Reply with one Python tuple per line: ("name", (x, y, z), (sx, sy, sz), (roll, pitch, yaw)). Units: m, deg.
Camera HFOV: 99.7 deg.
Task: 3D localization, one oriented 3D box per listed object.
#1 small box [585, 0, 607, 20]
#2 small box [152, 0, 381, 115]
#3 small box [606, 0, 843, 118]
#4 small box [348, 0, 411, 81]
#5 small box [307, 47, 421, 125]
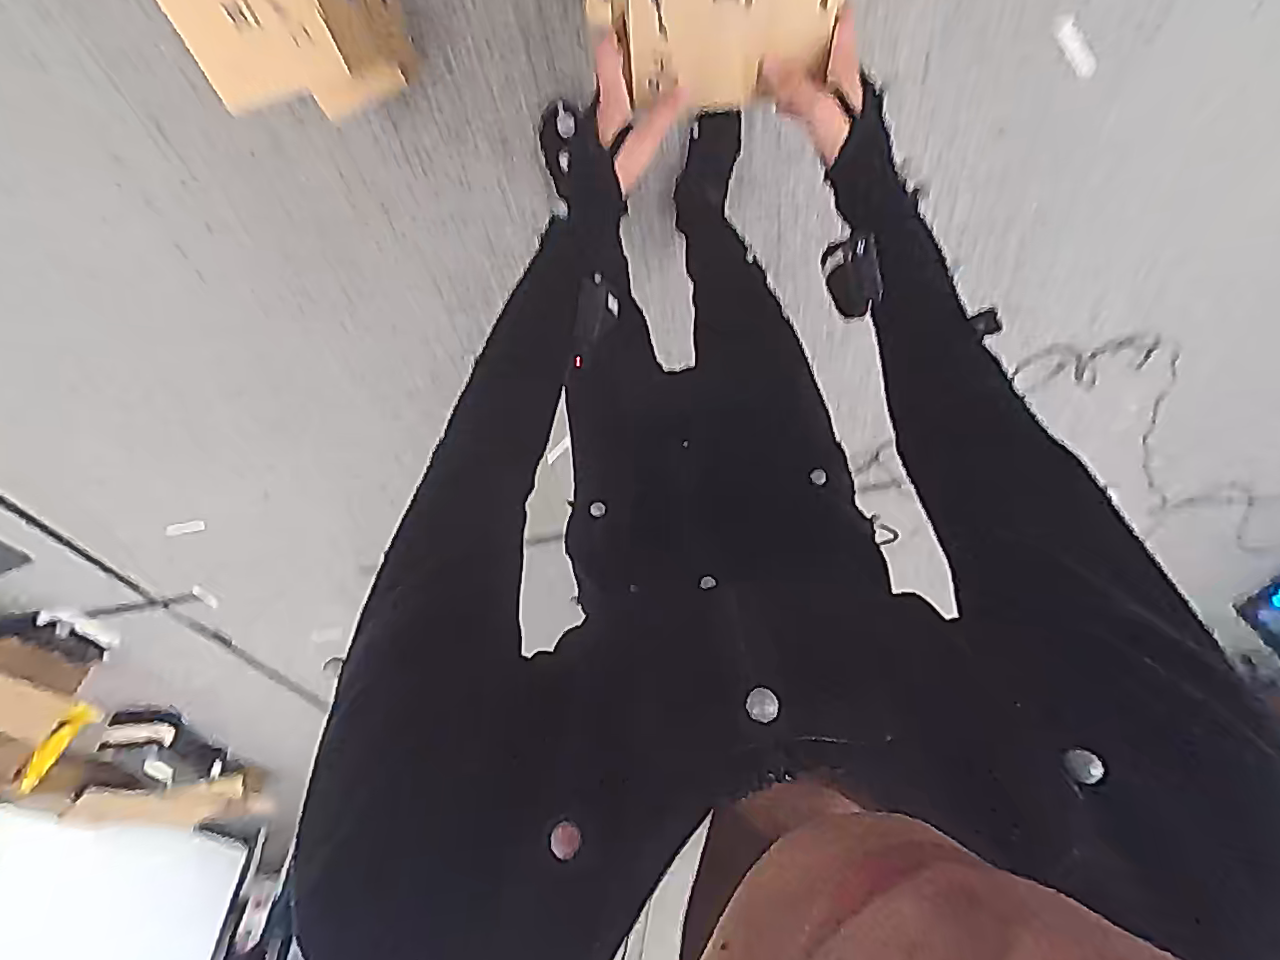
("small box", (-0.017, -0.894, 0.904), (0.179, 0.176, 0.168), (-10, 135, 2))
("small box", (-0.466, -0.592, 0.684), (0.179, 0.176, 0.168), (-12, 134, 6))
("small box", (0.064, -0.434, 0.466), (0.179, 0.176, 0.168), (-7, 136, -4))
("small box", (-0.464, -0.709, 0.800), (0.168, 0.176, 0.179), (-6, 135, 1))
("small box", (-0.520, -0.774, 0.960), (0.168, 0.176, 0.179), (-17, 134, 11))
